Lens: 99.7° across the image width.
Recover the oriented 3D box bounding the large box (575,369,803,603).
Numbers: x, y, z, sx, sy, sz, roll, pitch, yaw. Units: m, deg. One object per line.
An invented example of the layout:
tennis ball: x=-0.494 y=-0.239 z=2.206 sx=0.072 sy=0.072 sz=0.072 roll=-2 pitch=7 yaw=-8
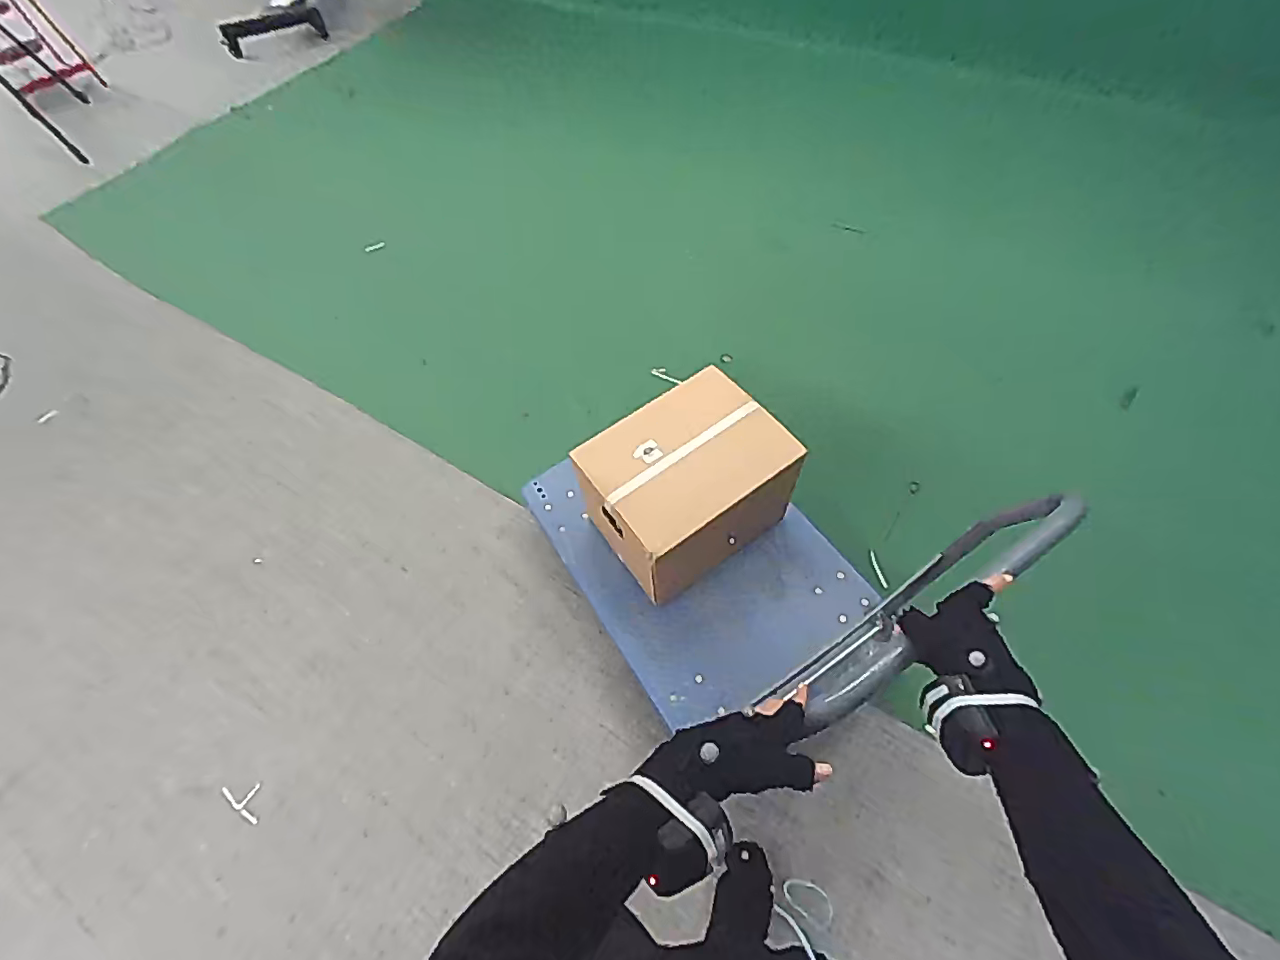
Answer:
large box: x=0.113 y=0.019 z=1.285 sx=0.408 sy=0.320 sz=0.320 roll=-34 pitch=63 yaw=-14
